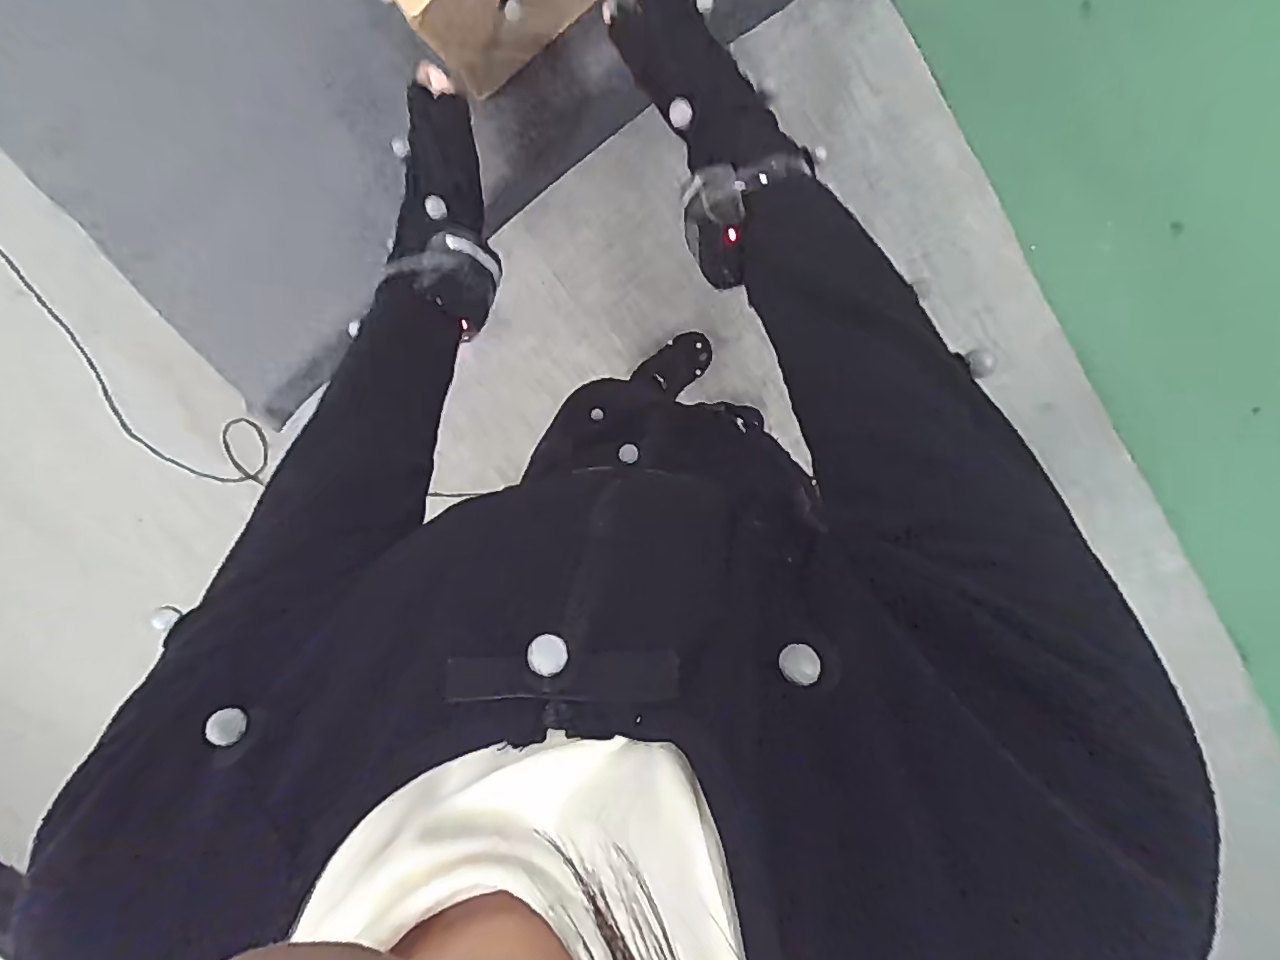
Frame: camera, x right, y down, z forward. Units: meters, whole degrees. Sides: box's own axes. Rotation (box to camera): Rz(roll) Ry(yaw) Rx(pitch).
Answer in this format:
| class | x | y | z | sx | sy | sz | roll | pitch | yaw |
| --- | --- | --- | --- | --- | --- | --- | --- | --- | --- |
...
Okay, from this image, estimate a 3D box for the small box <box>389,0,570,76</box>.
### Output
| class | x | y | z | sx | sy | sz | roll | pitch | yaw |
| --- | --- | --- | --- | --- | --- | --- | --- | --- | --- |
| small box | -0.149 | -0.485 | 0.440 | 0.179 | 0.176 | 0.168 | -32 | 103 | 14 |
